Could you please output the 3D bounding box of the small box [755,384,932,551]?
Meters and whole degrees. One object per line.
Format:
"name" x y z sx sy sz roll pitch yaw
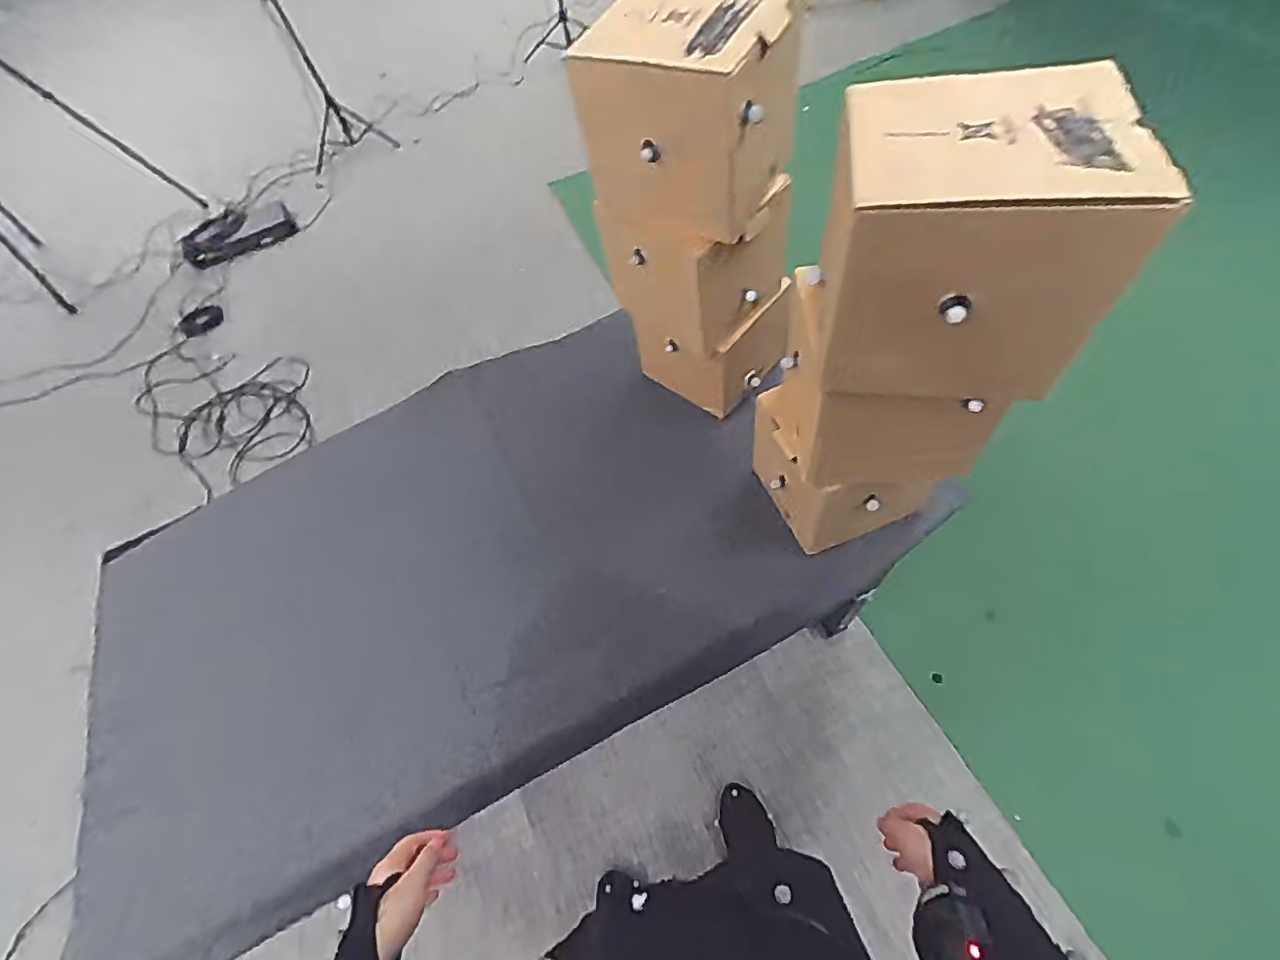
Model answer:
"small box" 0.266 -0.031 0.709 0.179 0.176 0.168 -22 57 -4

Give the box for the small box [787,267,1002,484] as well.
"small box" 0.253 -0.107 0.564 0.179 0.176 0.168 -4 57 7

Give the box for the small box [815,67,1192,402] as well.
"small box" 0.238 -0.175 0.413 0.179 0.176 0.168 4 59 13

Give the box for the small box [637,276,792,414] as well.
"small box" 0.112 -0.233 0.851 0.179 0.176 0.168 35 73 22

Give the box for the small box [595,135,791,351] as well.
"small box" 0.071 -0.302 0.705 0.179 0.176 0.168 39 76 25
